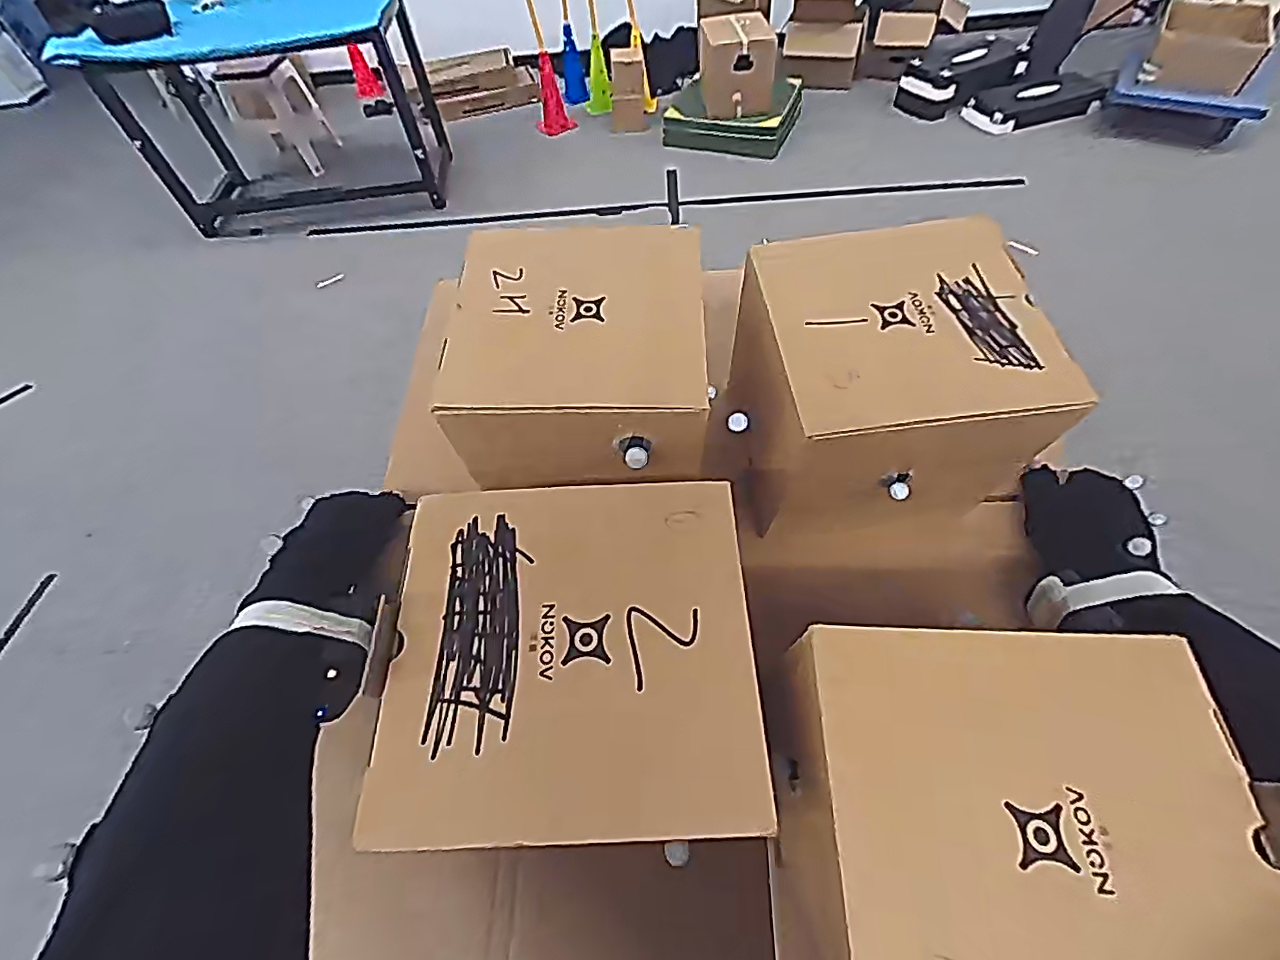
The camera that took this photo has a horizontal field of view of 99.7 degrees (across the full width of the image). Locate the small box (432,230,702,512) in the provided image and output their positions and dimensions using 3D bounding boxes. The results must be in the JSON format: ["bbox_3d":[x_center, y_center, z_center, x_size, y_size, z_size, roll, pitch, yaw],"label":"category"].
[{"bbox_3d":[-0.043,-0.080,0.451,0.179,0.176,0.168,0,62,3],"label":"small box"}]
